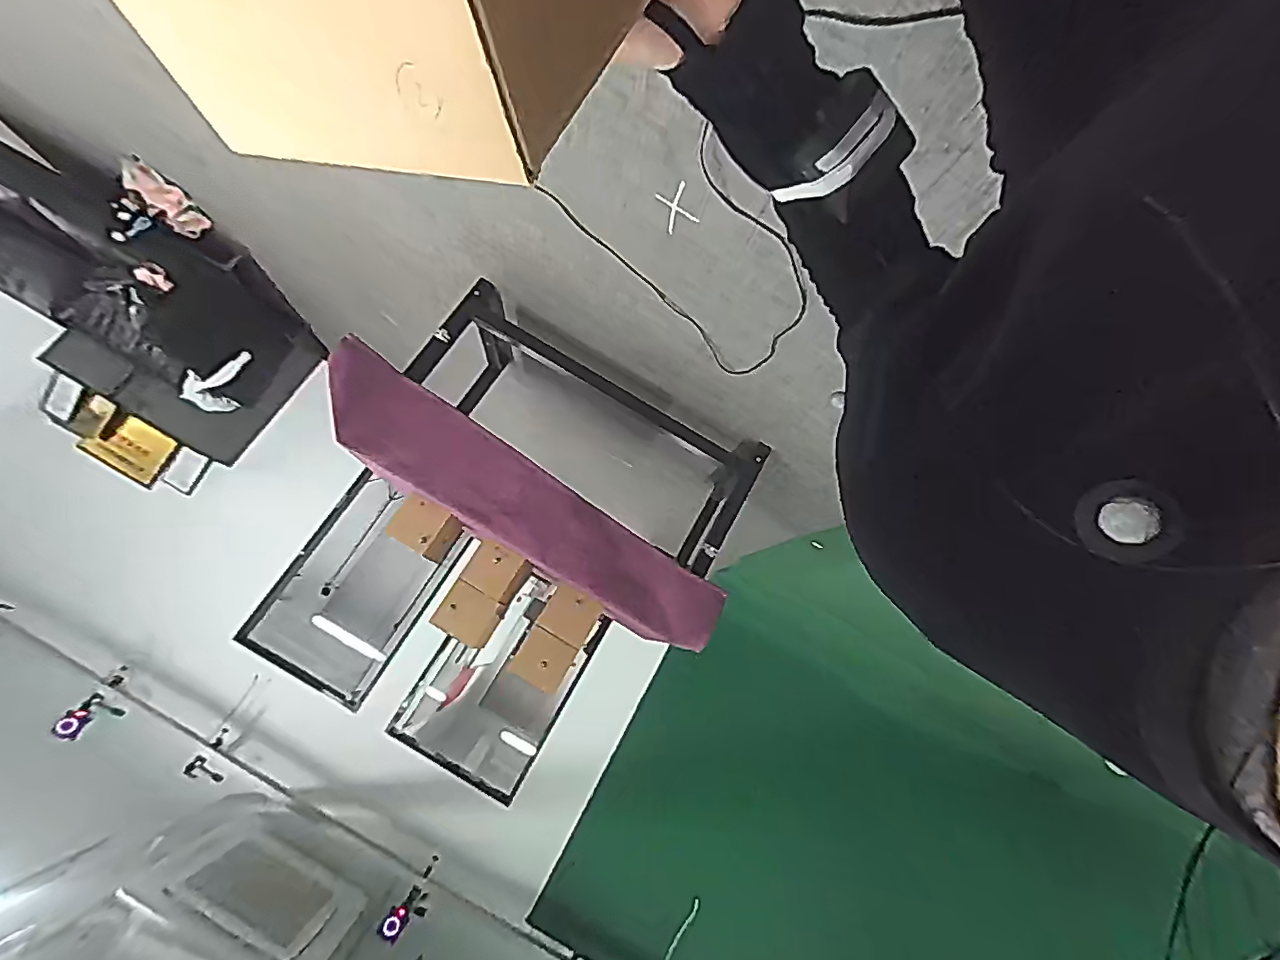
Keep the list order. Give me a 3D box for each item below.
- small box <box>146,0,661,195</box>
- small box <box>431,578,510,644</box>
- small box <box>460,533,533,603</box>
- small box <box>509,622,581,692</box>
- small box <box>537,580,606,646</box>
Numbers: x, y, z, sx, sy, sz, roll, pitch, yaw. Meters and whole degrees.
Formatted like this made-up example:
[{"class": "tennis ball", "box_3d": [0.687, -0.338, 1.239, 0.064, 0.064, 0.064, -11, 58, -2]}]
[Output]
[{"class": "small box", "box_3d": [-0.095, -0.250, 0.206, 0.168, 0.176, 0.179, 16, 155, 16]}, {"class": "small box", "box_3d": [-0.575, 0.446, 1.857, 0.179, 0.176, 0.168, 29, 164, 6]}, {"class": "small box", "box_3d": [-0.497, 0.311, 1.906, 0.168, 0.176, 0.179, 28, 163, 8]}, {"class": "small box", "box_3d": [-0.322, 0.597, 1.846, 0.179, 0.176, 0.168, 30, 163, 2]}, {"class": "small box", "box_3d": [-0.240, 0.463, 1.893, 0.179, 0.176, 0.168, 31, 164, 3]}]
